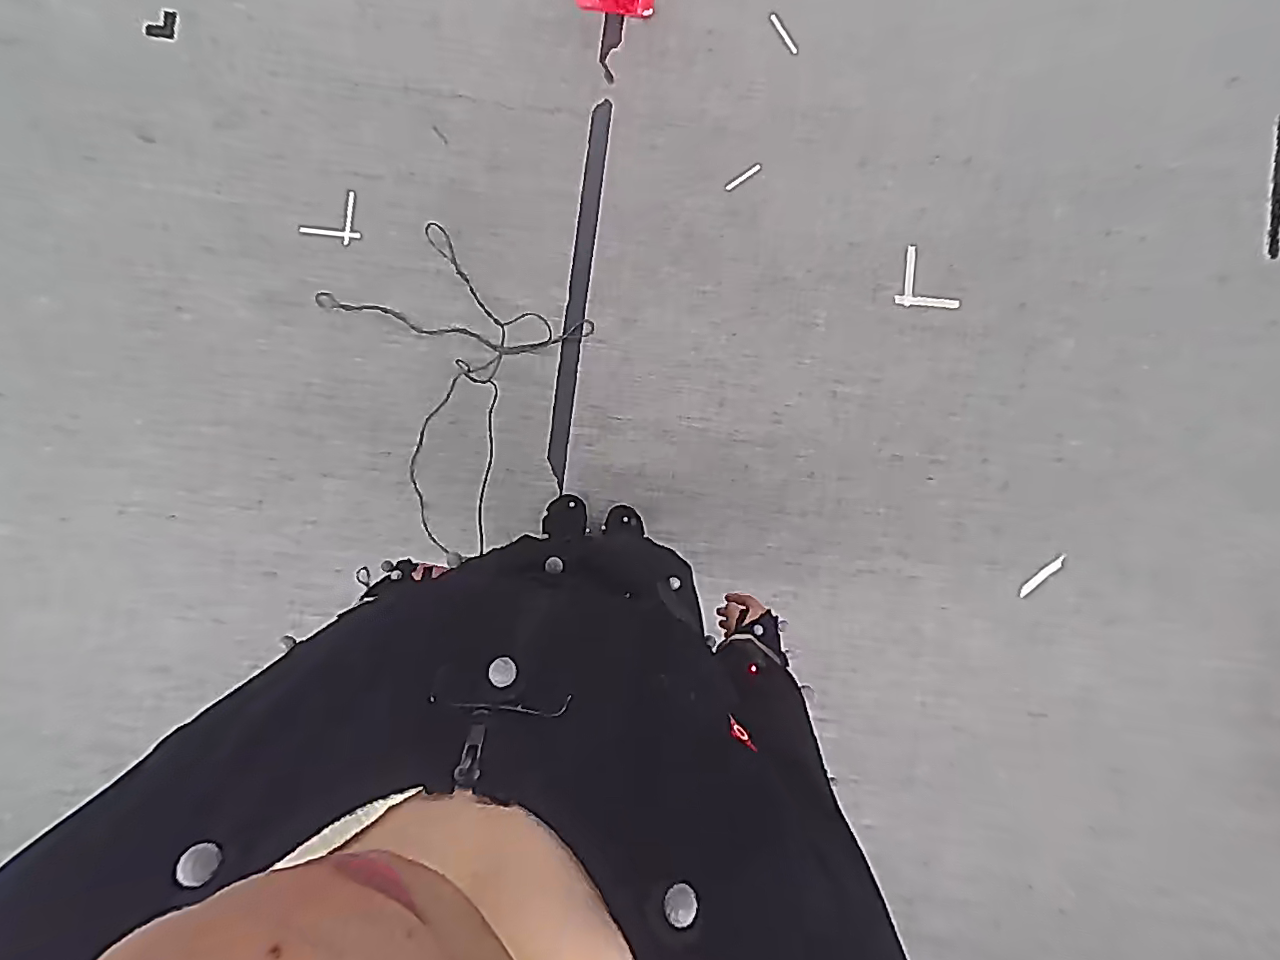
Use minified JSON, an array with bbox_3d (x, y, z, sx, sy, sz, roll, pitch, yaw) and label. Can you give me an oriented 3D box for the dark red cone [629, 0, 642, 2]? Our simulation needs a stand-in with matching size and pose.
[{"bbox_3d":[-0.046,-1.313,1.197,0.201,0.394,0.202,6,90,-1],"label":"dark red cone"}]
